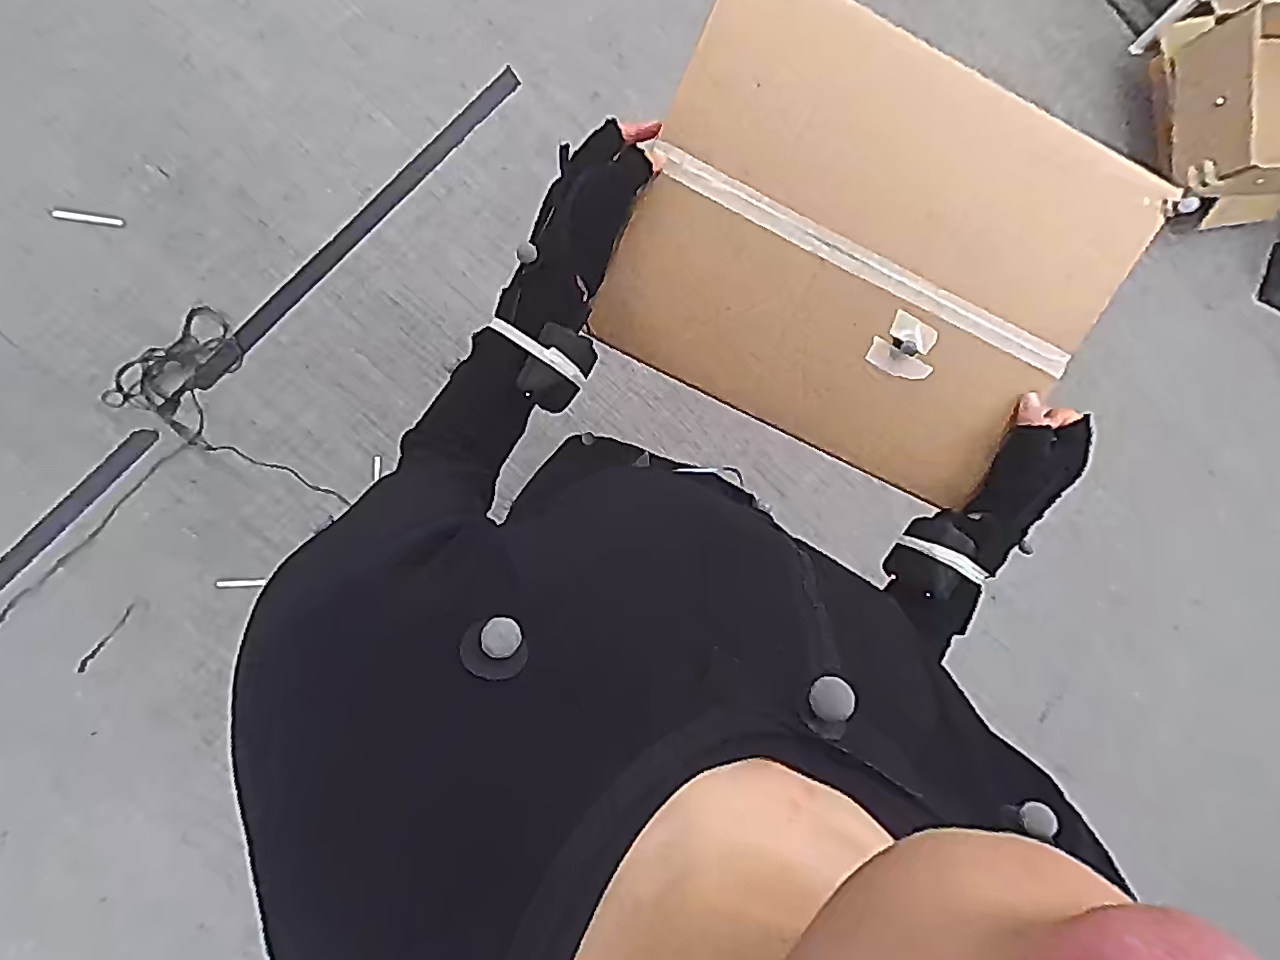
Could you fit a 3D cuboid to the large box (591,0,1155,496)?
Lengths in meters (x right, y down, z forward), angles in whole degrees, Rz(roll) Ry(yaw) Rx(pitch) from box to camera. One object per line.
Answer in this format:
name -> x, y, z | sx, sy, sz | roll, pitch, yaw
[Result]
large box -> 0.196, -0.236, 0.618 | 0.408, 0.320, 0.320 | 26, 106, -6
